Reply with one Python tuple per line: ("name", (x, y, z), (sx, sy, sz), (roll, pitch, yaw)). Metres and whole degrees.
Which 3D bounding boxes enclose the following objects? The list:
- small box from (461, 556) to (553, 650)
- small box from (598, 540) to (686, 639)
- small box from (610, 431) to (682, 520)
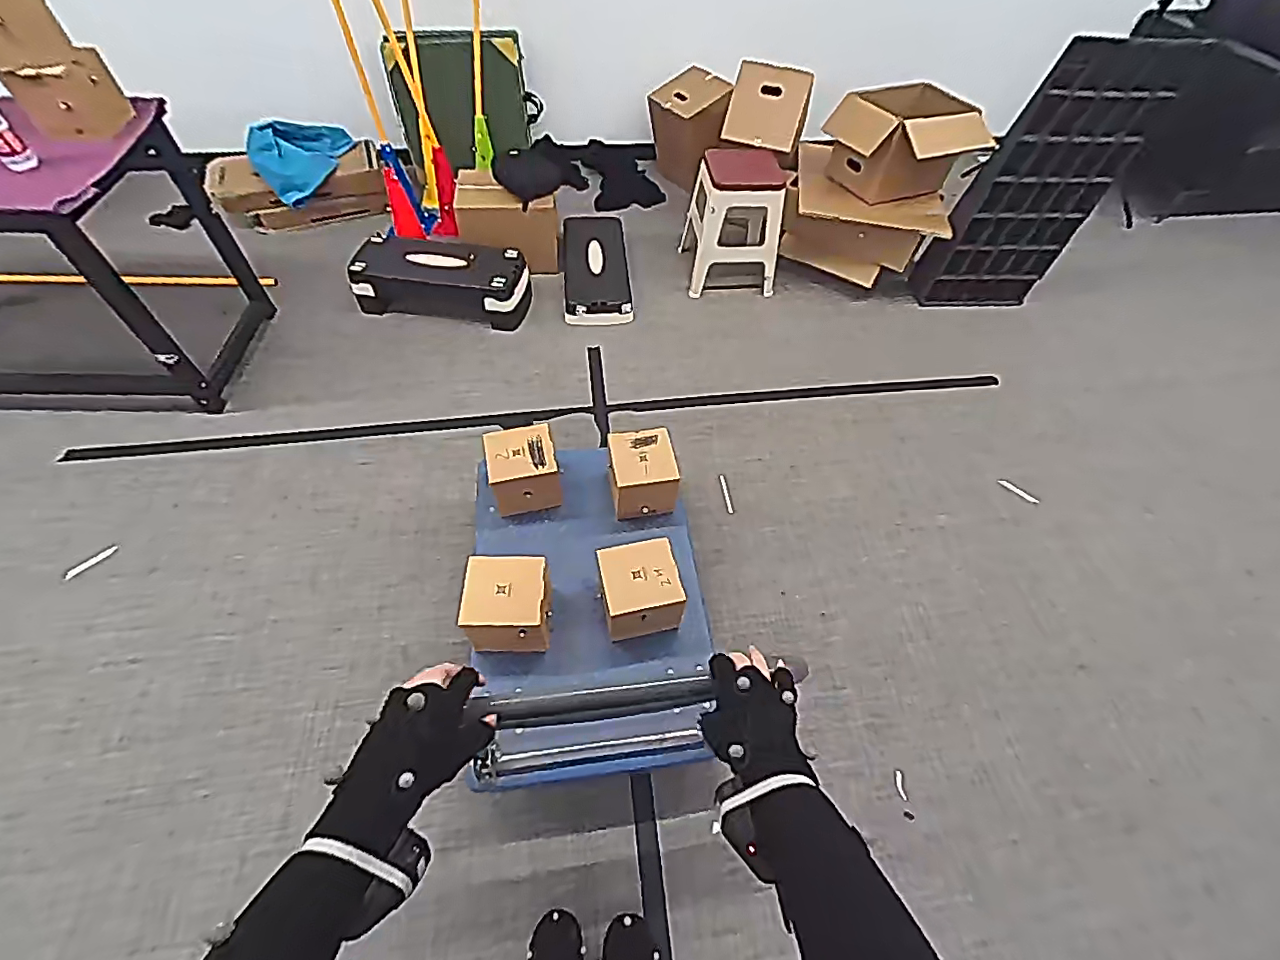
("small box", (-0.301, 0.291, 1.264), (0.179, 0.176, 0.168), (1, 55, -4))
("small box", (0.000, 0.267, 1.298), (0.179, 0.176, 0.168), (-9, 56, -9))
("small box", (0.009, -0.011, 1.494), (0.168, 0.176, 0.179), (-7, 57, -8))
